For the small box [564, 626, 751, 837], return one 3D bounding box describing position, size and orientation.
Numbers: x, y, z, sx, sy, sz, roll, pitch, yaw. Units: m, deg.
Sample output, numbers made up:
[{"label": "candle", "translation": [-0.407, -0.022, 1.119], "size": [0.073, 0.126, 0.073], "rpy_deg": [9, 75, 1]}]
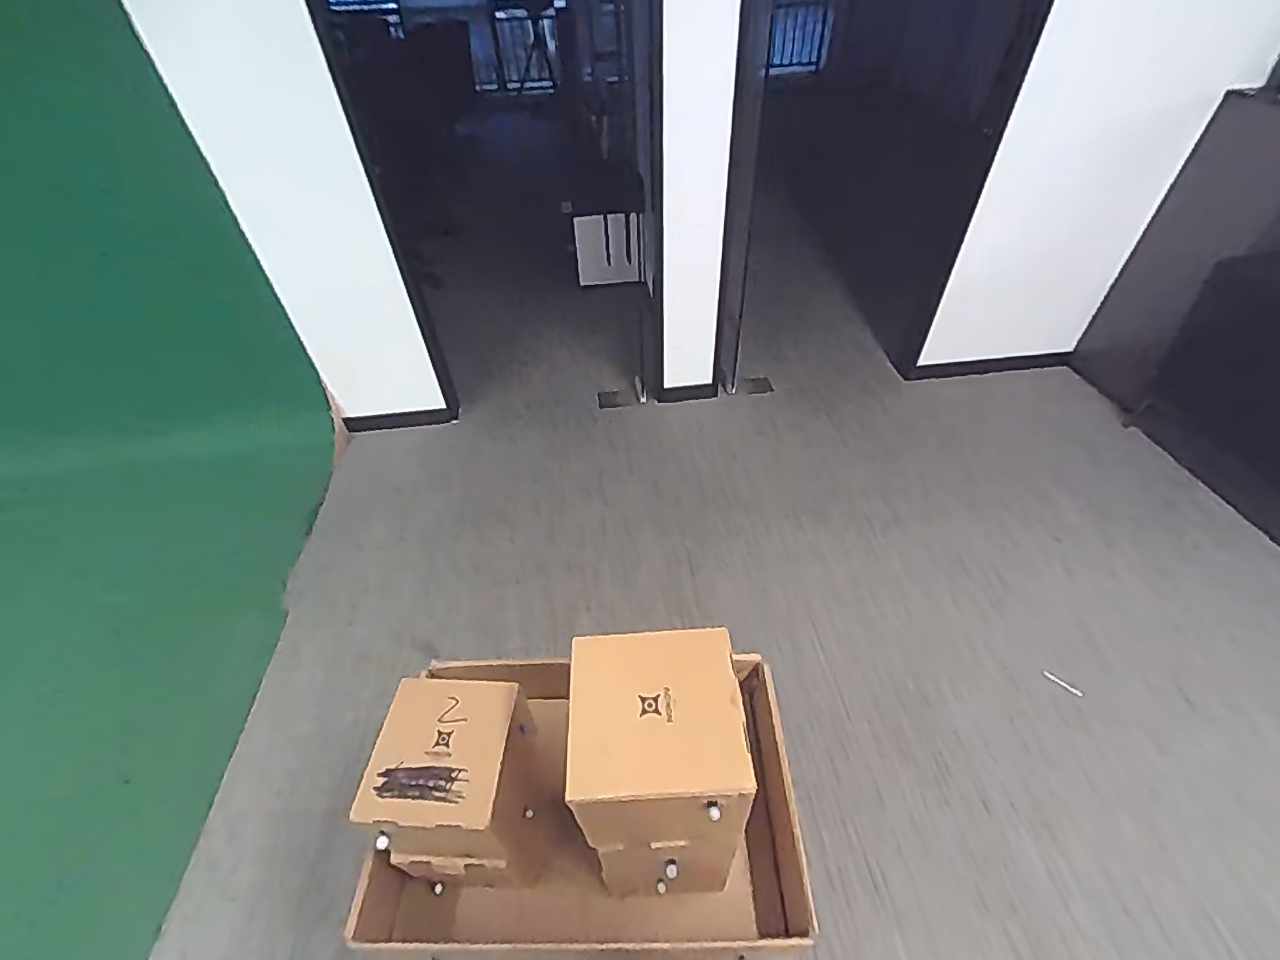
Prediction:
[{"label": "small box", "translation": [0.017, 0.282, 0.604], "size": [0.179, 0.176, 0.168], "rpy_deg": [-3, 45, -1]}]
